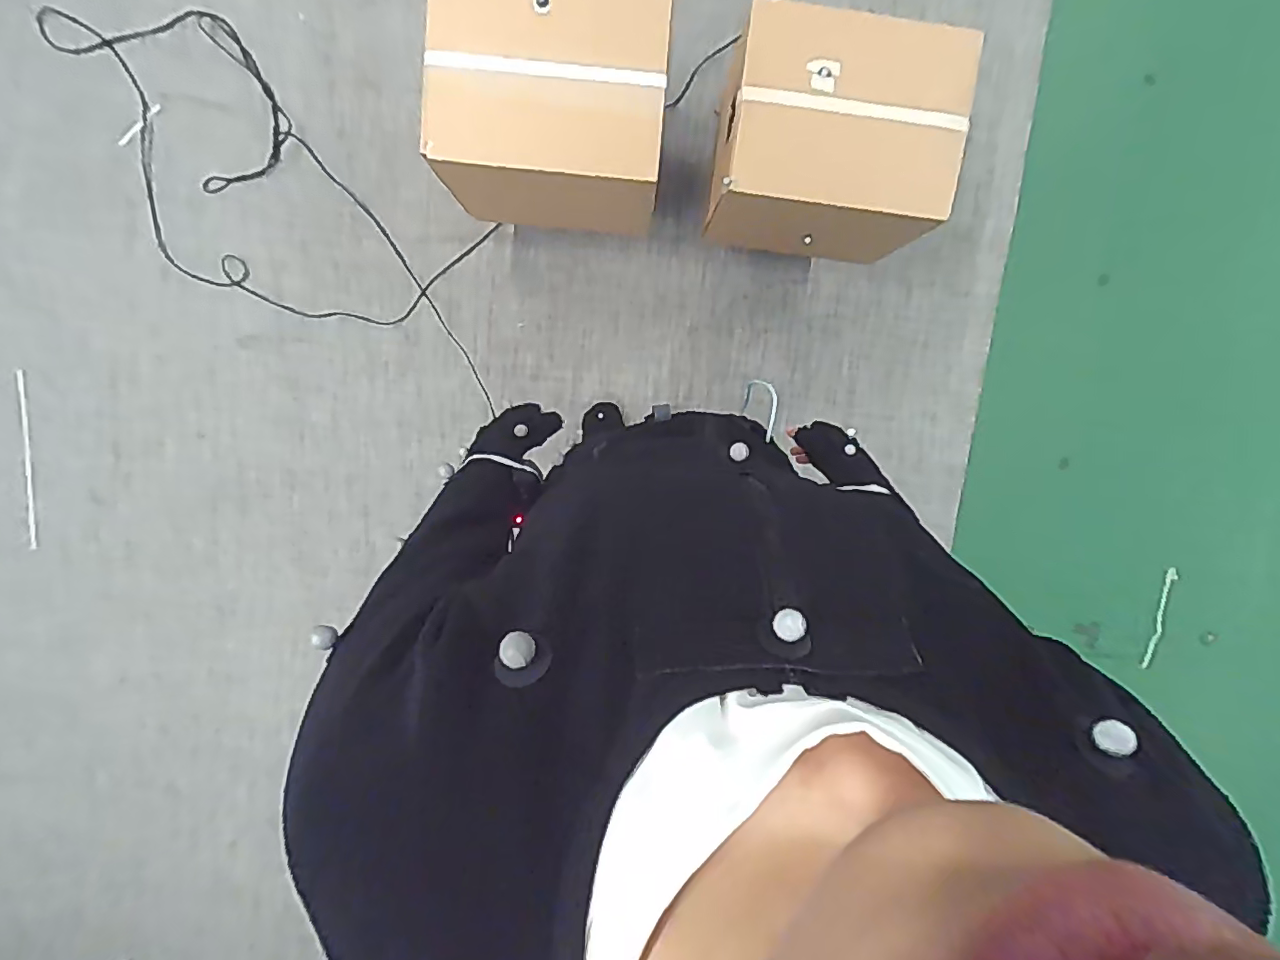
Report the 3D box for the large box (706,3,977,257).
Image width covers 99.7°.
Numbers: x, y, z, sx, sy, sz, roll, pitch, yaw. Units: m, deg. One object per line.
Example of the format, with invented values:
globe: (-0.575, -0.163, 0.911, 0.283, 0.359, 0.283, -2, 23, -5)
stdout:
large box: (0.370, -0.666, 1.097, 0.408, 0.320, 0.320, 7, 98, -2)
